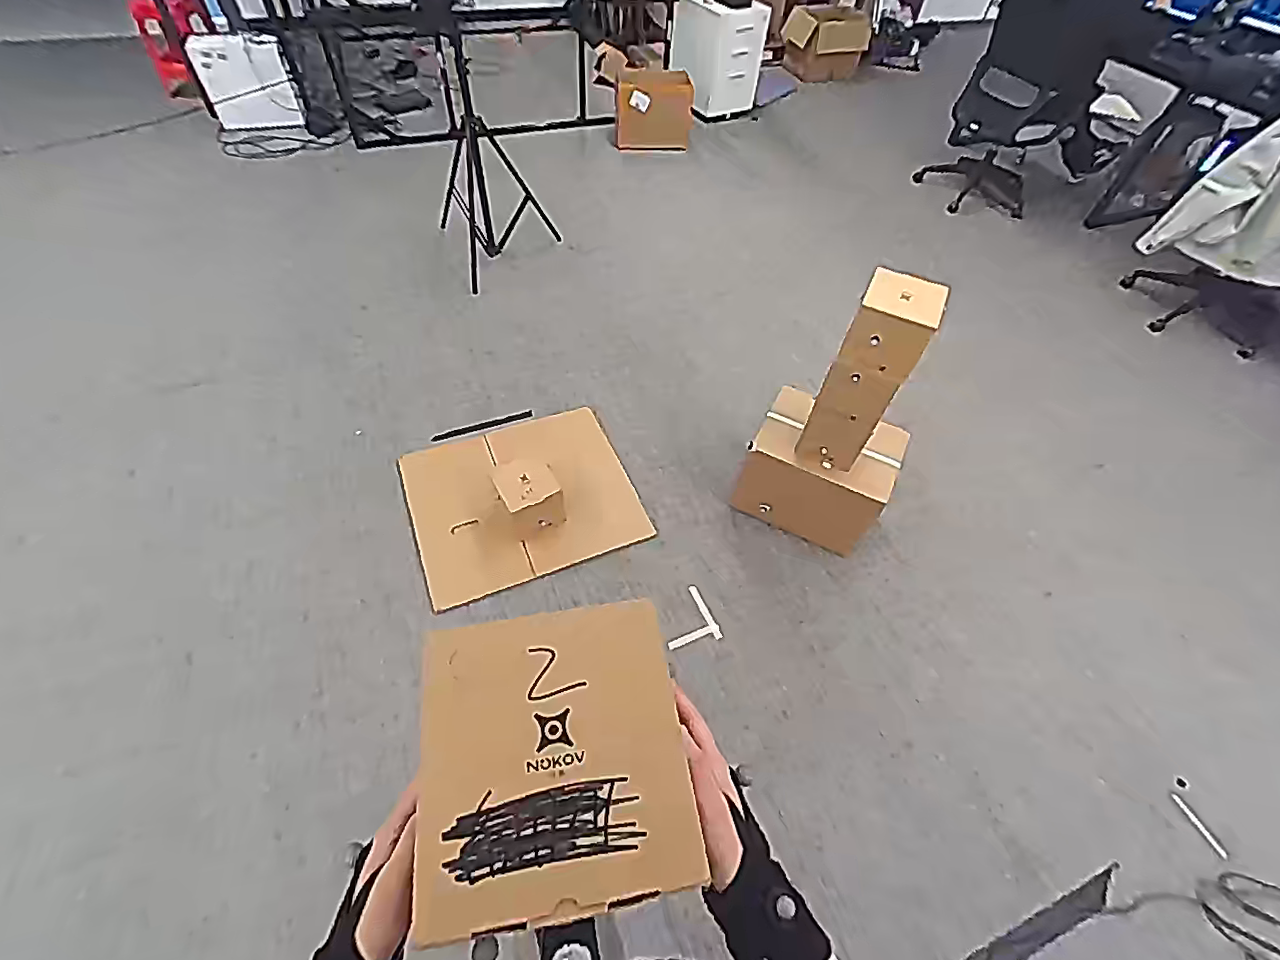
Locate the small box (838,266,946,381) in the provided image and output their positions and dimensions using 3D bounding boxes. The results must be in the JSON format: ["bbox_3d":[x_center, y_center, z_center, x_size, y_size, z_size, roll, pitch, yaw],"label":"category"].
[{"bbox_3d":[0.581,-0.362,1.264,0.168,0.176,0.179,23,55,13],"label":"small box"}]

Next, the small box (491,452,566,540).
[{"bbox_3d":[-0.342,0.052,1.672,0.168,0.176,0.179,-26,59,-19],"label":"small box"}]

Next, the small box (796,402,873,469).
[{"bbox_3d":[0.559,-0.166,1.526,0.168,0.176,0.179,24,56,13],"label":"small box"}]

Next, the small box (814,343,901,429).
[{"bbox_3d":[0.570,-0.267,1.397,0.168,0.176,0.179,24,54,14],"label":"small box"}]
